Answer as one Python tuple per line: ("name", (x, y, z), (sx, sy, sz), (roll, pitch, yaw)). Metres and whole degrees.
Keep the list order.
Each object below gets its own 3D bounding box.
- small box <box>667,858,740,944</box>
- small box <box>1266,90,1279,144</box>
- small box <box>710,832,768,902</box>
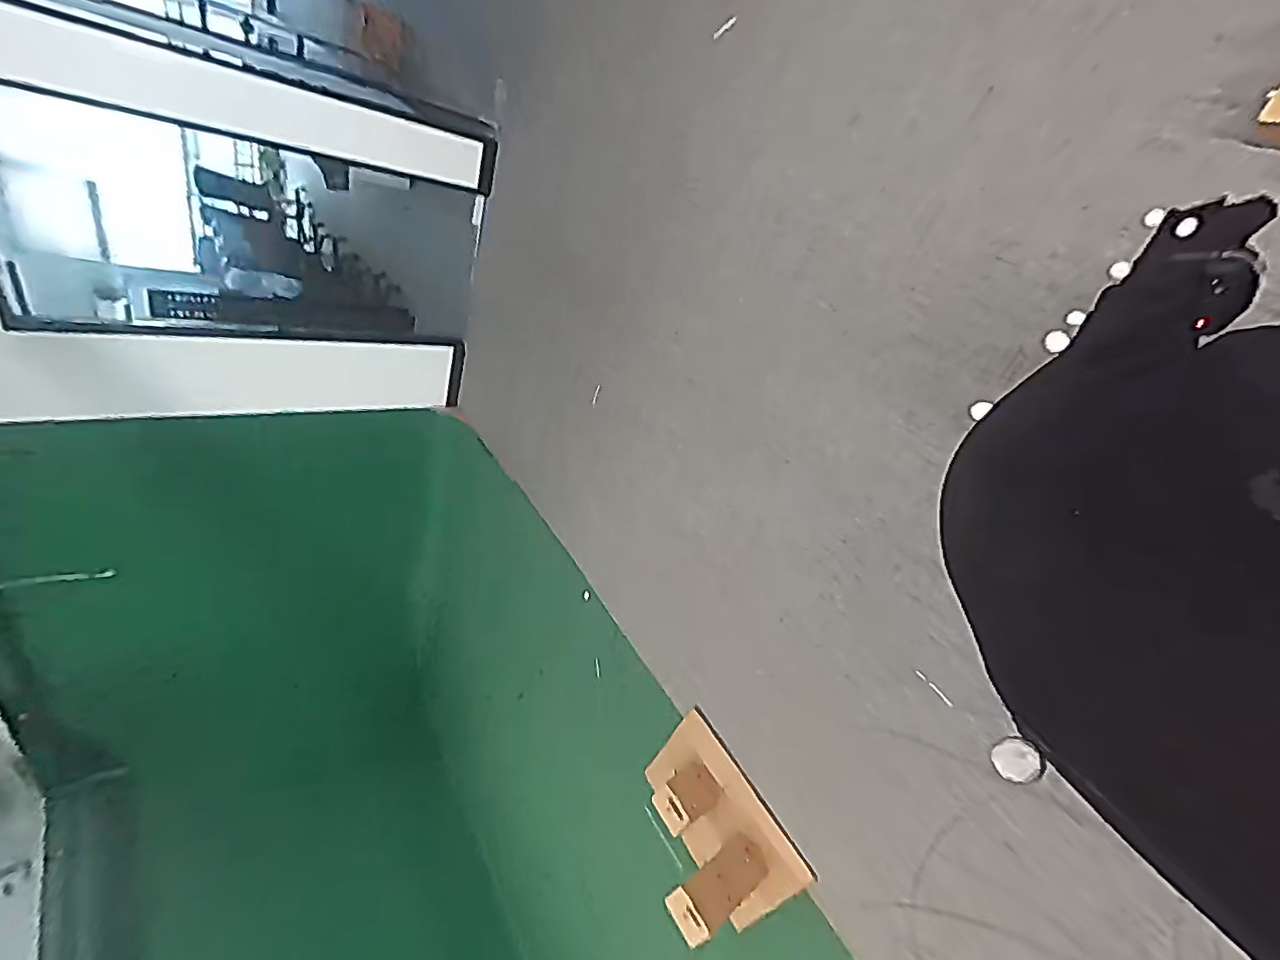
("small box", (0.236, 1.522, 1.963), (0.168, 0.176, 0.179), (49, 132, 32))
("small box", (1.104, -0.604, 0.803), (0.168, 0.176, 0.179), (46, 130, 36))
("small box", (0.360, 1.499, 2.068), (0.168, 0.176, 0.179), (47, 130, 32))
